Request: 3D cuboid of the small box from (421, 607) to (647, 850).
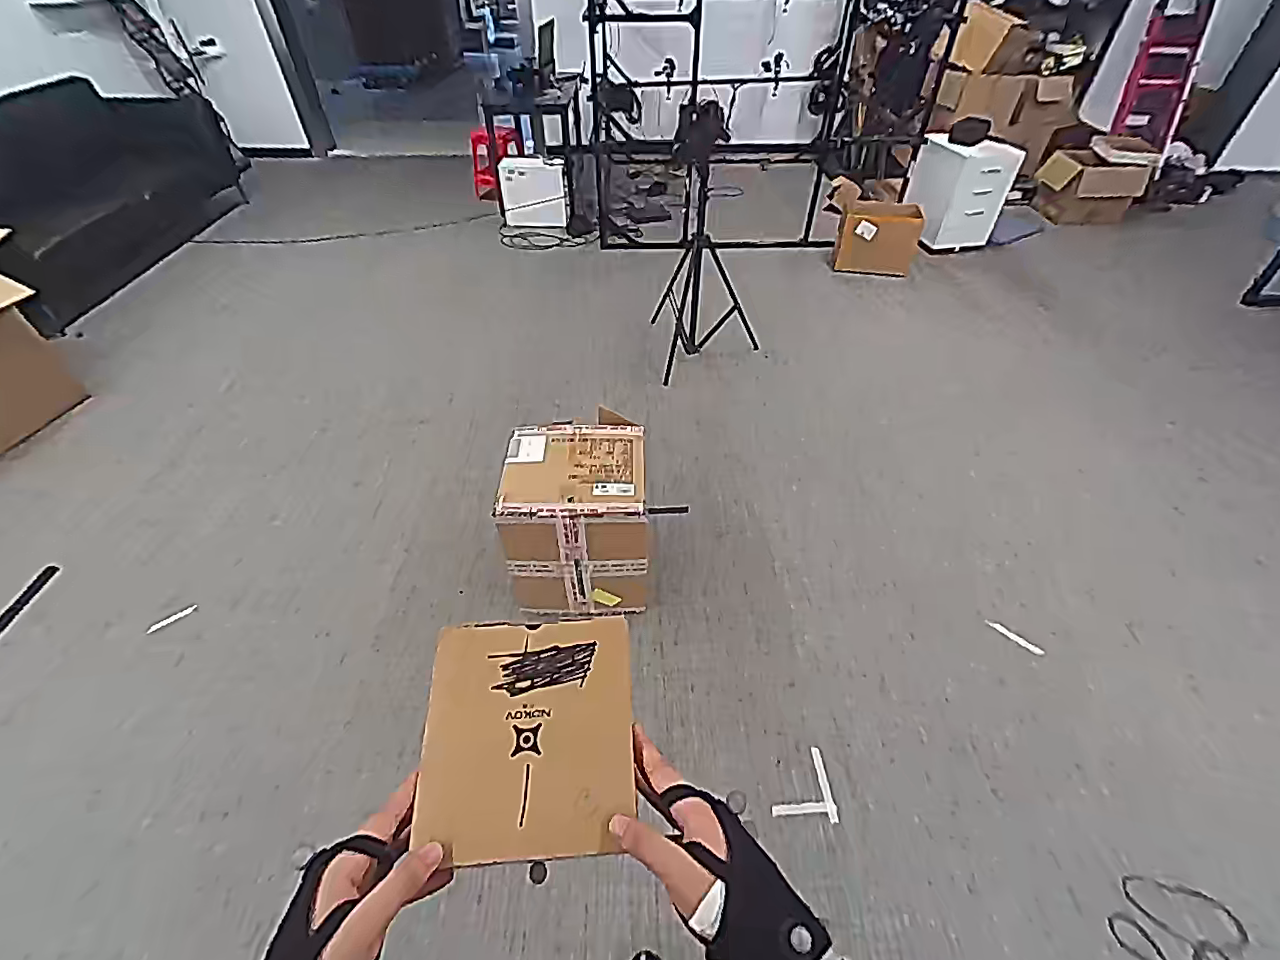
[{"bbox_3d":[-0.083,0.234,0.503,0.168,0.176,0.179,-3,57,-2],"label":"small box"}]
